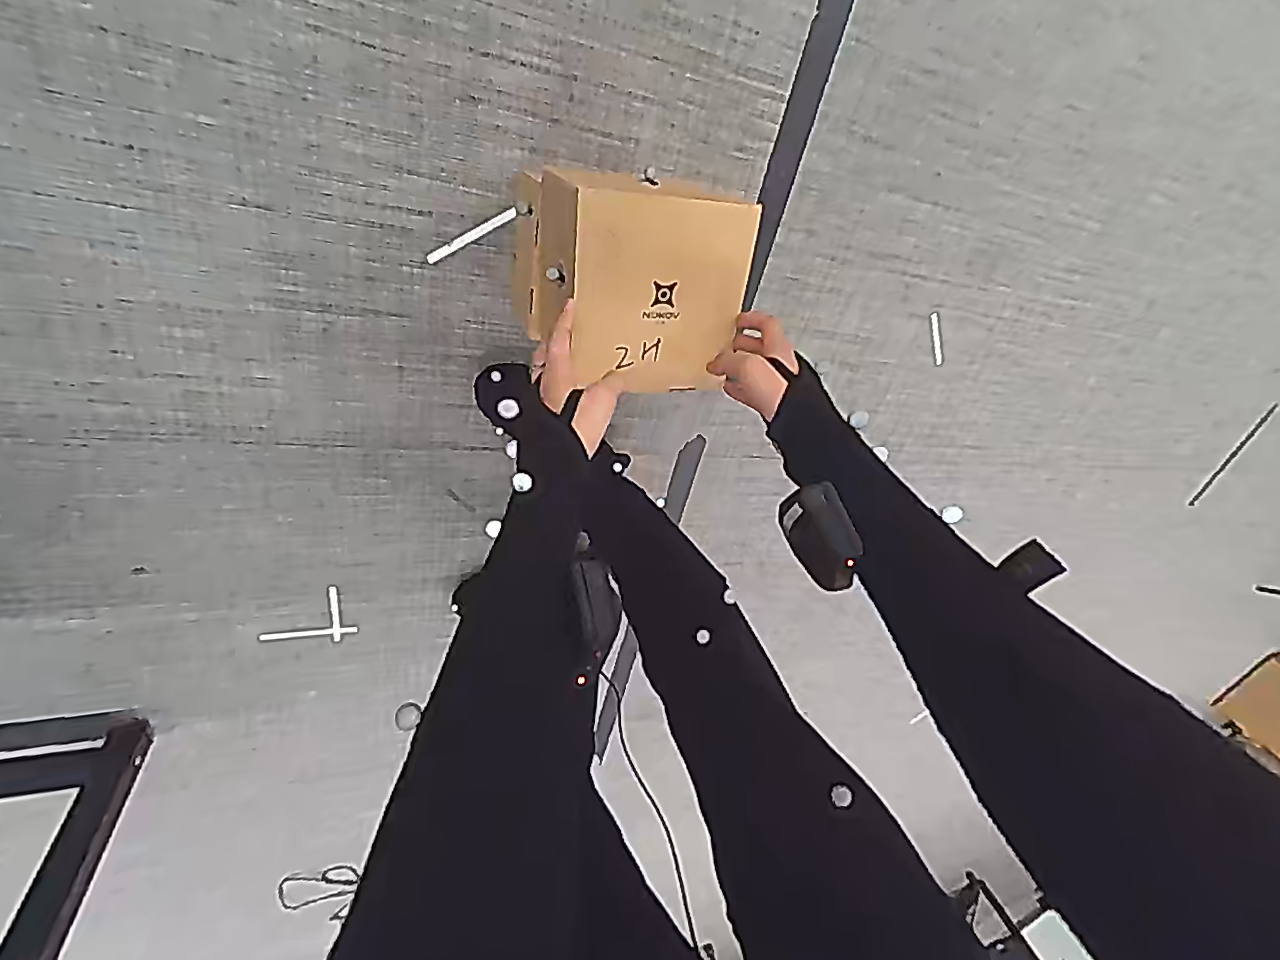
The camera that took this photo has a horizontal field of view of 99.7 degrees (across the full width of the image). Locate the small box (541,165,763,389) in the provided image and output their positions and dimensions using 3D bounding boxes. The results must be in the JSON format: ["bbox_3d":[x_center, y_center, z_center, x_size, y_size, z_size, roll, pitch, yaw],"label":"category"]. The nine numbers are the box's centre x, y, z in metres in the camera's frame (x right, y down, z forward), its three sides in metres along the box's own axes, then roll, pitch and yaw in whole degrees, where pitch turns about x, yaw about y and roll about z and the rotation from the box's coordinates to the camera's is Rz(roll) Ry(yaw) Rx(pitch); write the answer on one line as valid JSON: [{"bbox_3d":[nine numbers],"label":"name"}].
[{"bbox_3d":[-0.005,-0.207,0.548,0.168,0.176,0.179,-4,126,-19],"label":"small box"}]
